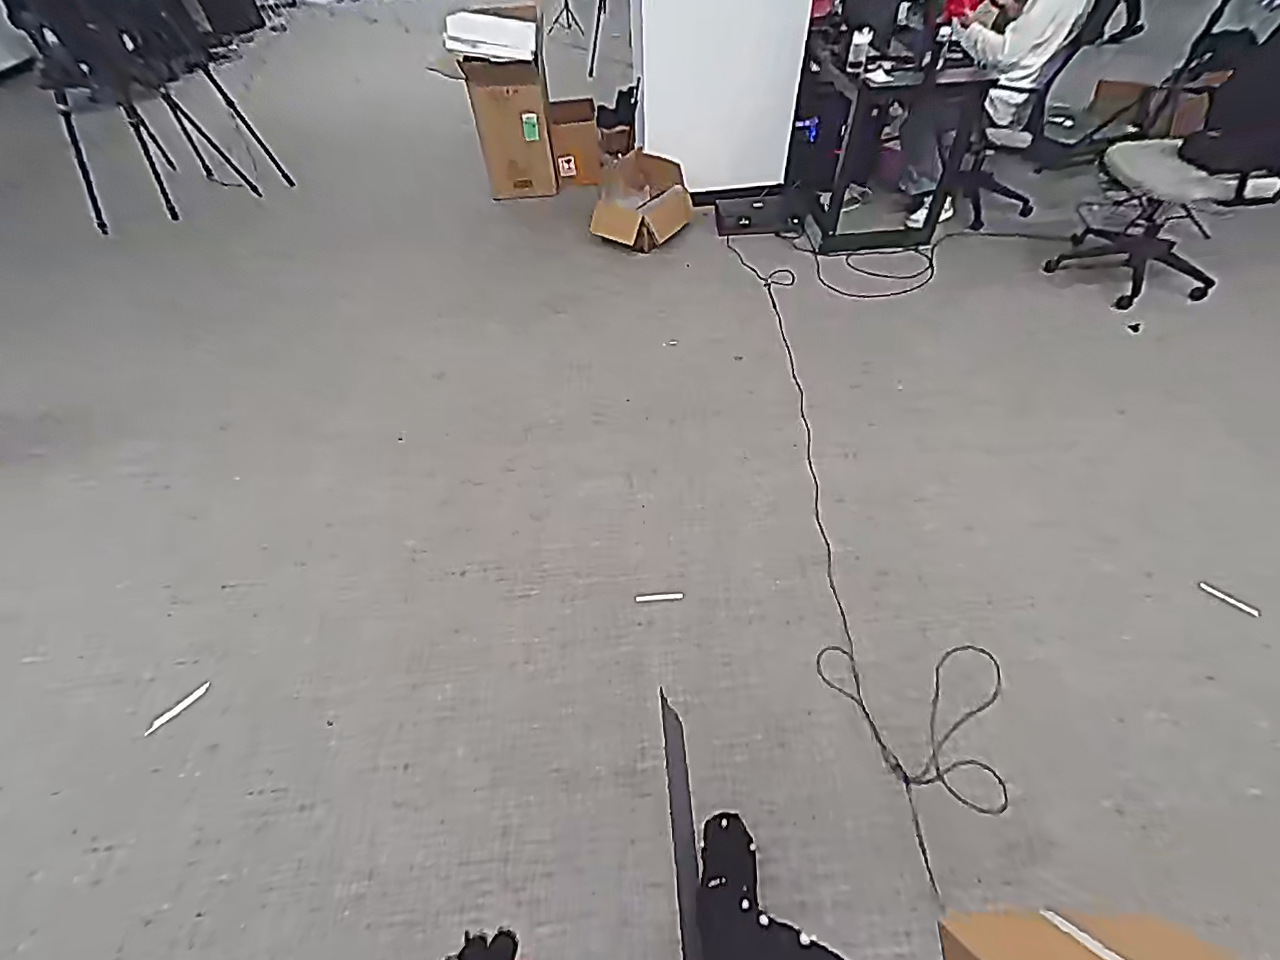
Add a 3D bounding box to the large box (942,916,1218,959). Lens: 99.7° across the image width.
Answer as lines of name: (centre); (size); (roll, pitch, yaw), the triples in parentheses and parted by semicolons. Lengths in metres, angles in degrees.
large box: (0.586, 0.729, 0.557); (0.320, 0.408, 0.320); (-2, 73, 1)
